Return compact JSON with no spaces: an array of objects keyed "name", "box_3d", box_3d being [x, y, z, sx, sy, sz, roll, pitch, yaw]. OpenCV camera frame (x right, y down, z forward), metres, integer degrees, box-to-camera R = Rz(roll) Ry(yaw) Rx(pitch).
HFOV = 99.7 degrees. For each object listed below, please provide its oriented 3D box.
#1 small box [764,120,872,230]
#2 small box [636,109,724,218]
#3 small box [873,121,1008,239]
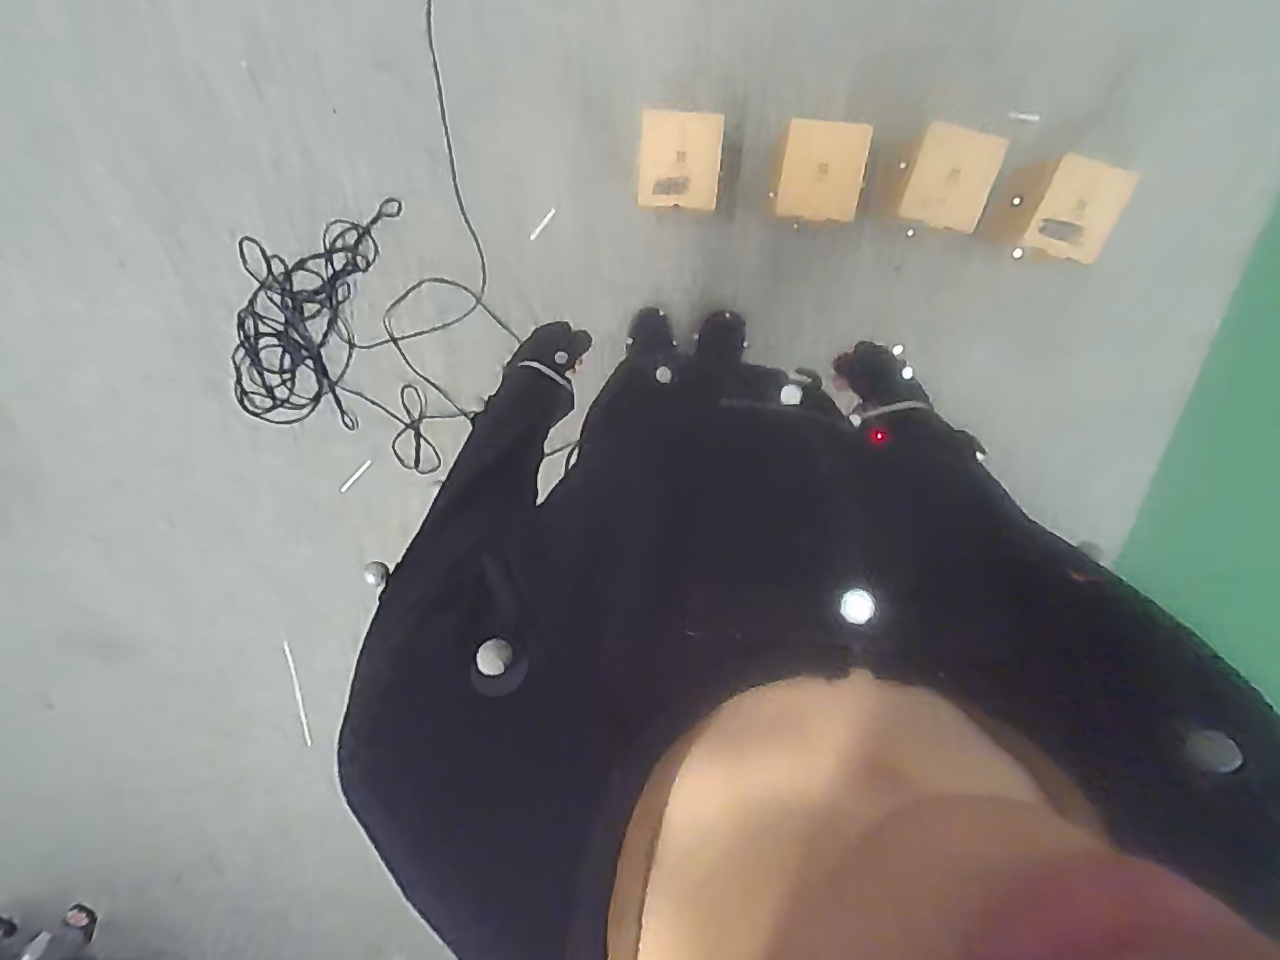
[{"name":"small box","box_3d":[0.373,-0.650,1.168,0.168,0.176,0.179,6,112,1]},{"name":"small box","box_3d":[0.084,-0.675,1.173,0.168,0.176,0.179,5,110,1]},{"name":"small box","box_3d":[0.629,-0.632,1.160,0.168,0.176,0.179,13,112,-1]}]
